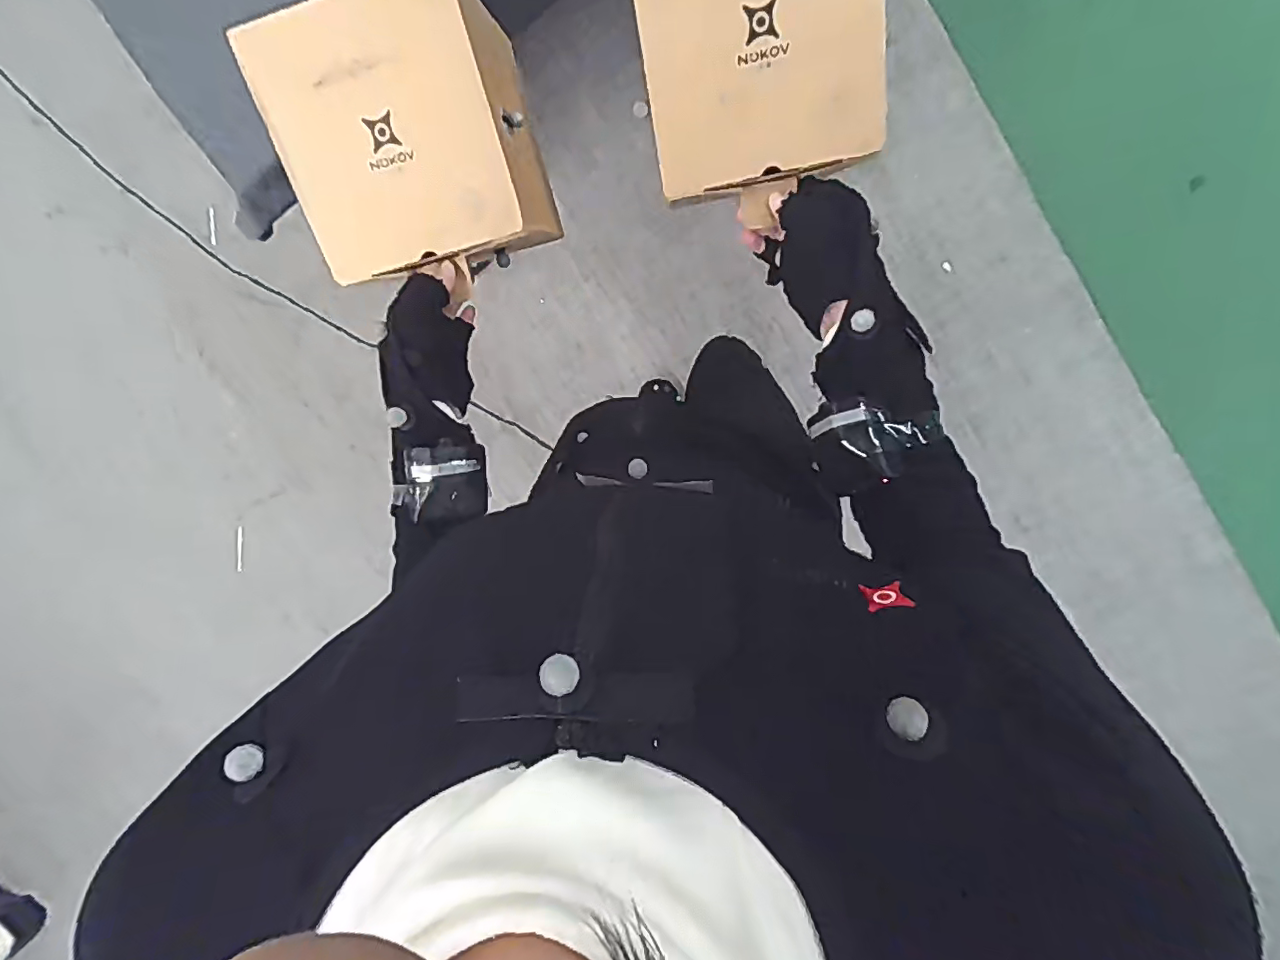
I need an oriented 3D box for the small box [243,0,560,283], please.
[{"bbox_3d":[-0.182,-0.290,0.480,0.168,0.176,0.179,-13,111,8],"label":"small box"}]
